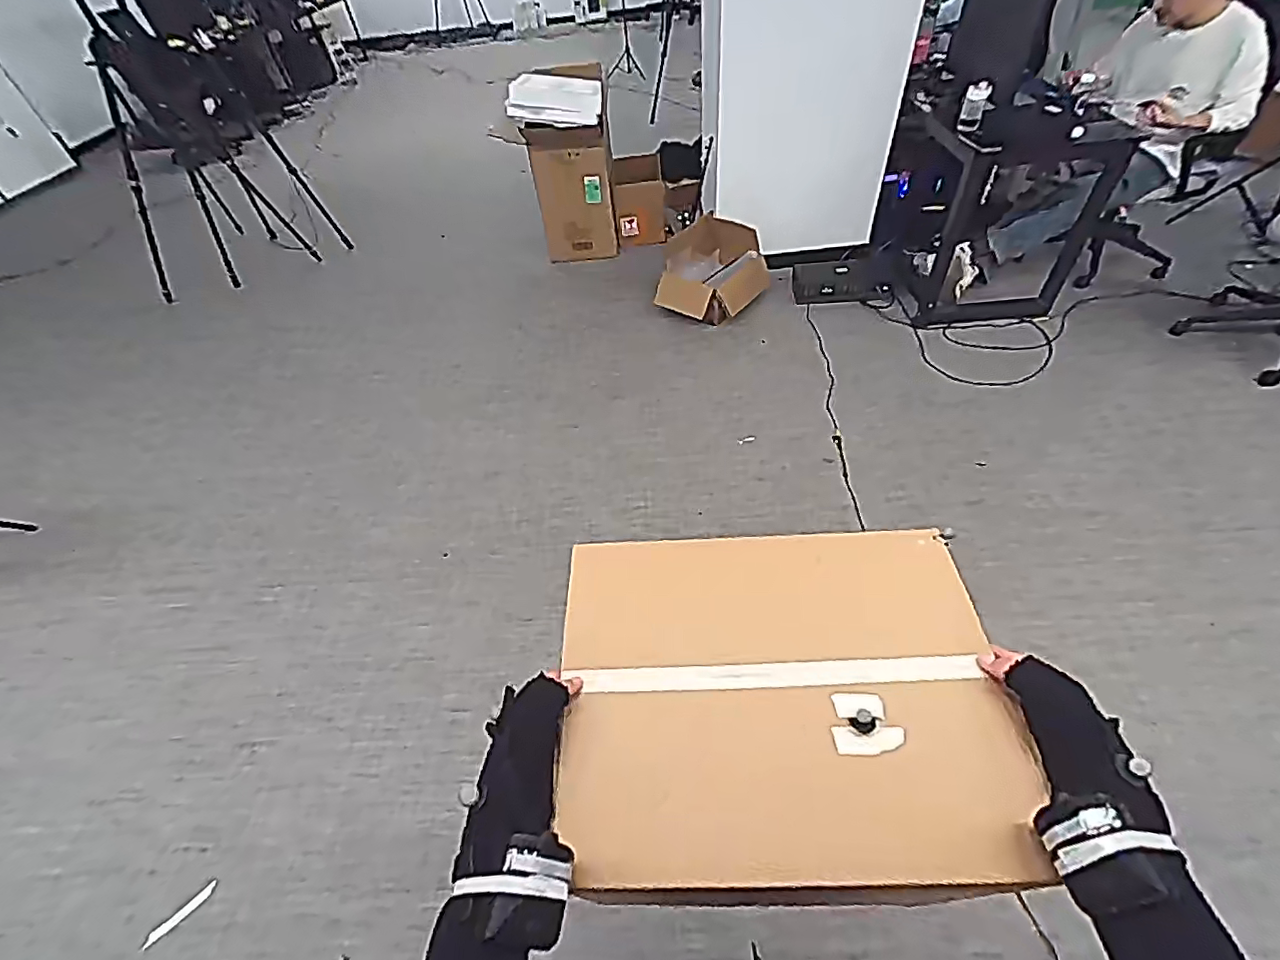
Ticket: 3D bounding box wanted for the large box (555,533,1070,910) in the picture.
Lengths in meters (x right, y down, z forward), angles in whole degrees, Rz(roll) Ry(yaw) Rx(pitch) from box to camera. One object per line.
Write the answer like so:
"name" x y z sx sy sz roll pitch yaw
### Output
"large box" 0.134 0.284 0.622 0.408 0.320 0.320 -3 50 2
